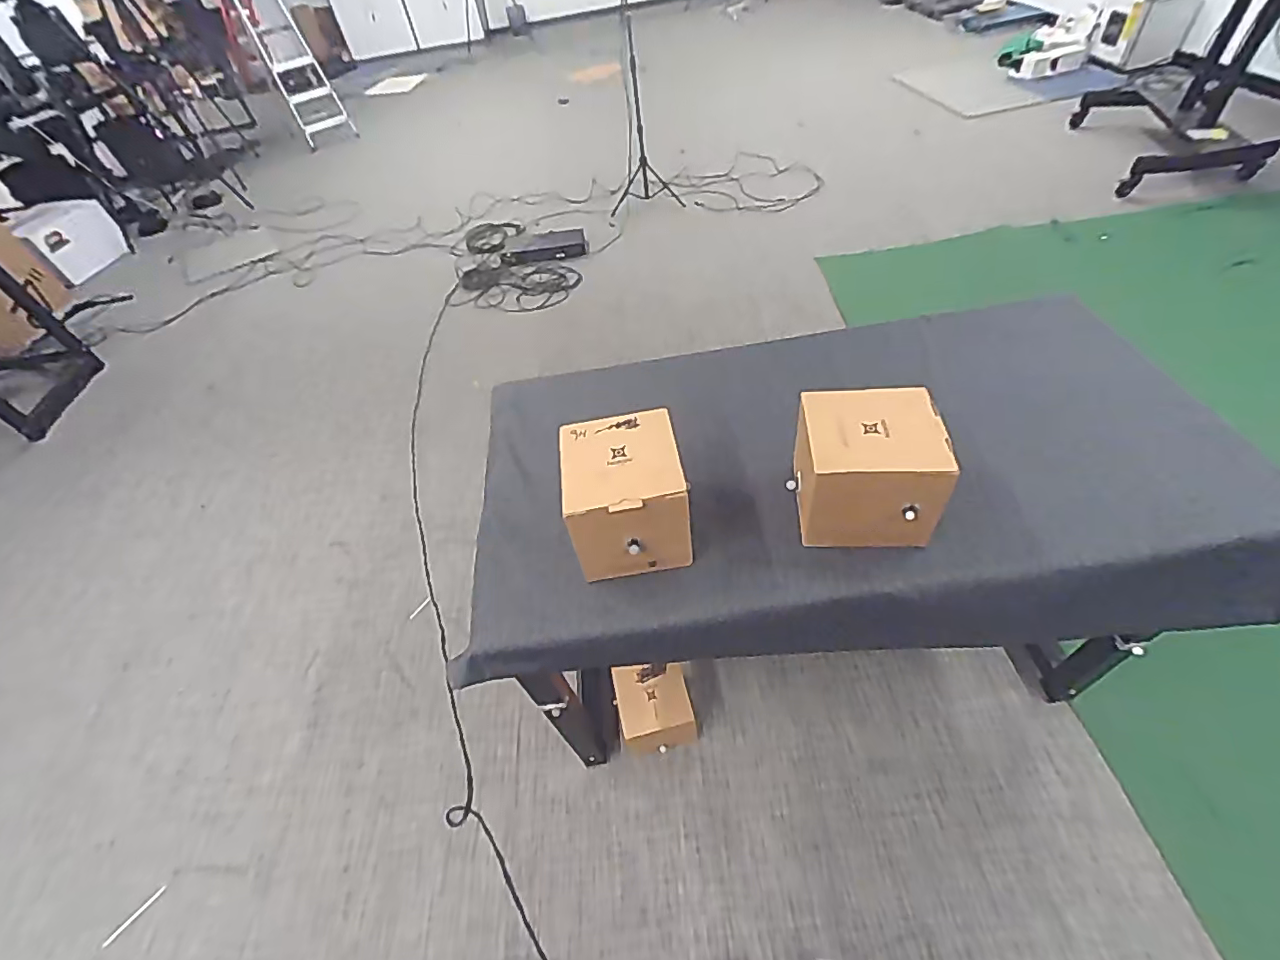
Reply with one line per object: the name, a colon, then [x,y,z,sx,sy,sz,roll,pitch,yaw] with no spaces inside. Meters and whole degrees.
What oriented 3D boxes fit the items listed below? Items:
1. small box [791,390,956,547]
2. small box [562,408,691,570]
small box: [0.327,-0.014,0.796,0.179,0.176,0.168,-2,47,8]
small box: [-0.018,0.020,0.814,0.168,0.176,0.179,-9,48,0]
